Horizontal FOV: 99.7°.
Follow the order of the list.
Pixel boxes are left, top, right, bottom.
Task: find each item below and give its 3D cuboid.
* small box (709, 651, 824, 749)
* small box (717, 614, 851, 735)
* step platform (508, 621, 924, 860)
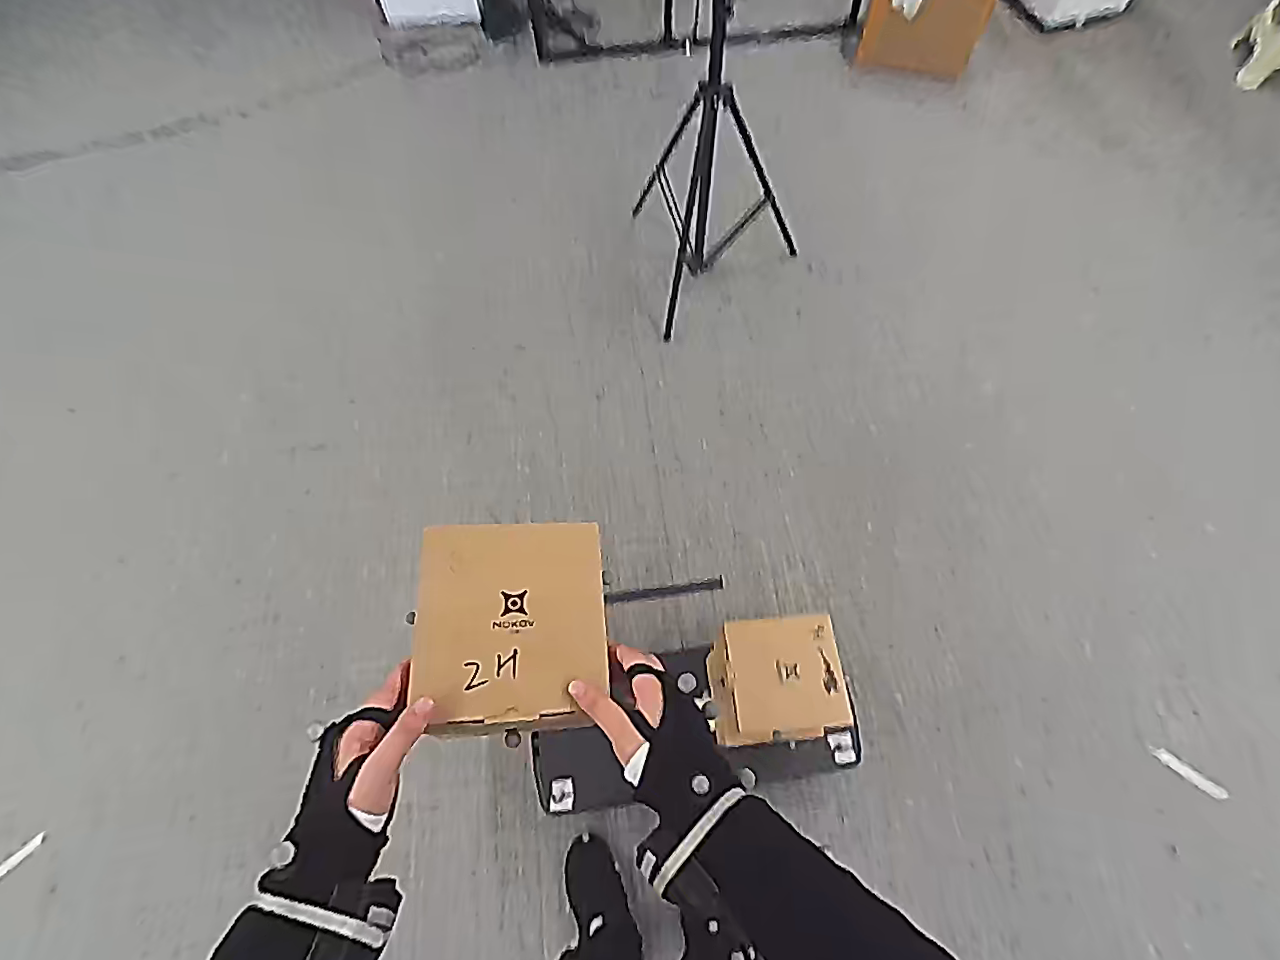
[{"bbox_3d":[0.230,0.417,1.044,0.179,0.176,0.168,-7,64,-1],"label":"small box"},{"bbox_3d":[0.226,0.330,0.904,0.179,0.176,0.168,-5,64,0],"label":"small box"},{"bbox_3d":[0.120,0.461,0.985,0.684,0.204,0.286,-8,64,-3],"label":"step platform"}]
